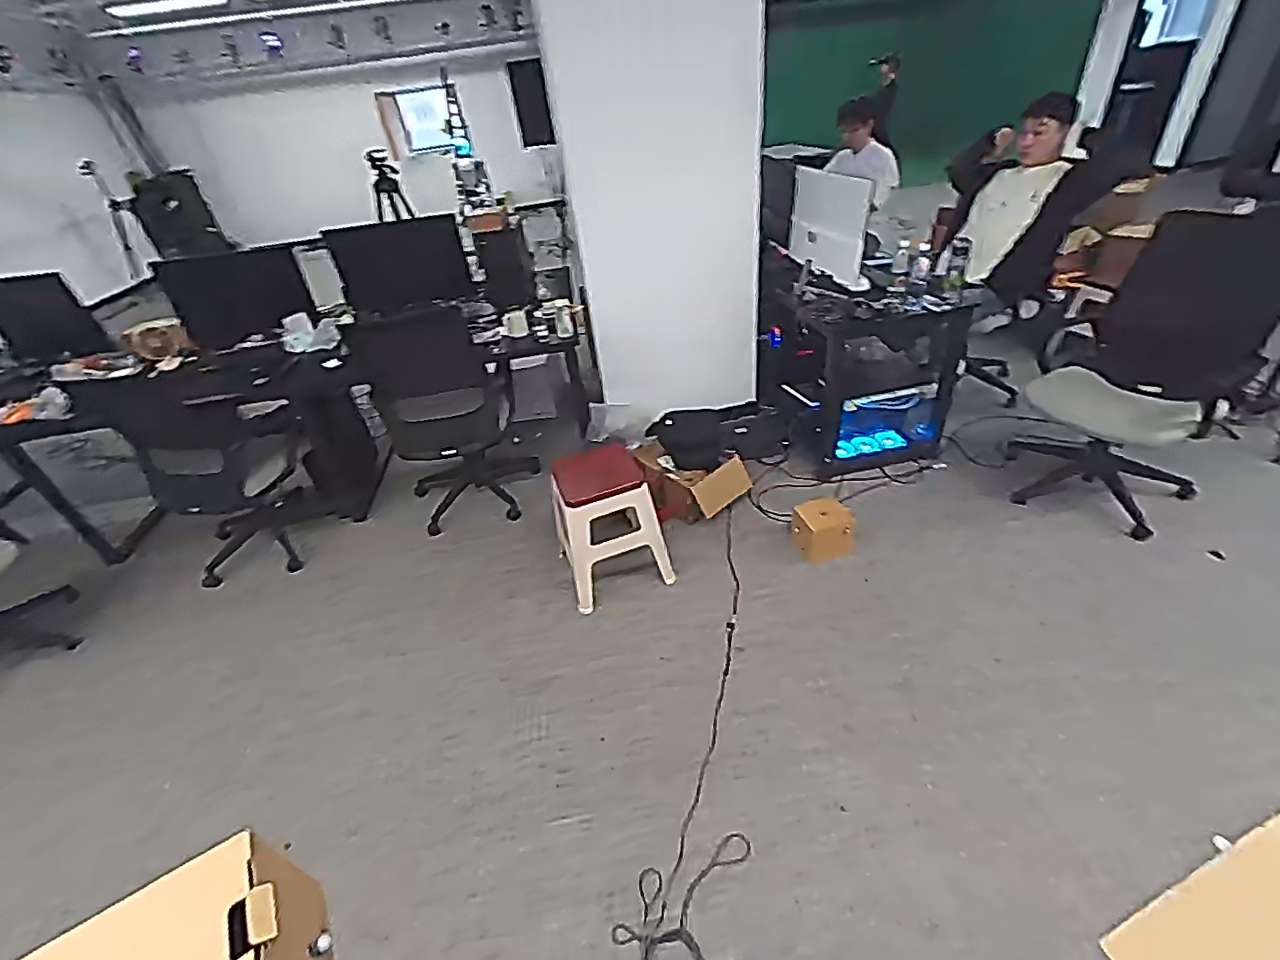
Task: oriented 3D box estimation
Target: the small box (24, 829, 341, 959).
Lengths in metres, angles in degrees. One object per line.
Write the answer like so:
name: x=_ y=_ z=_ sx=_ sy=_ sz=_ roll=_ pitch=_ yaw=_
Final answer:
small box: x=-0.383 y=0.460 z=0.469 sx=0.179 sy=0.176 sz=0.168 roll=-24 pitch=44 yaw=-23
